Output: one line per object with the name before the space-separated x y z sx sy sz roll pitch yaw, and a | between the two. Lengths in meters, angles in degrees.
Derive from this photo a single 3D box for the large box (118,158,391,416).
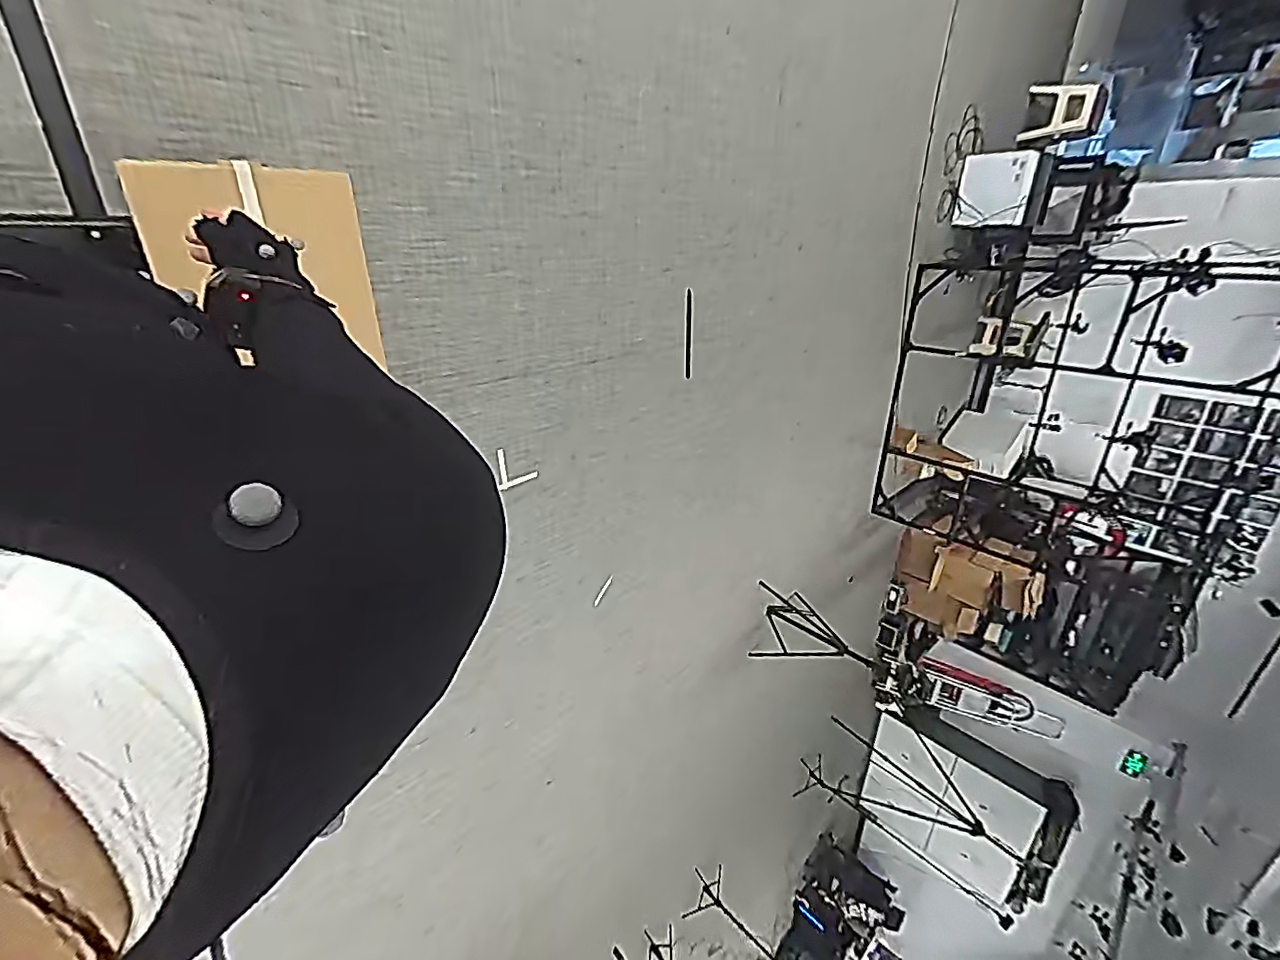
large box | -0.722 -0.381 1.051 0.320 0.320 0.408 -17 121 -32
